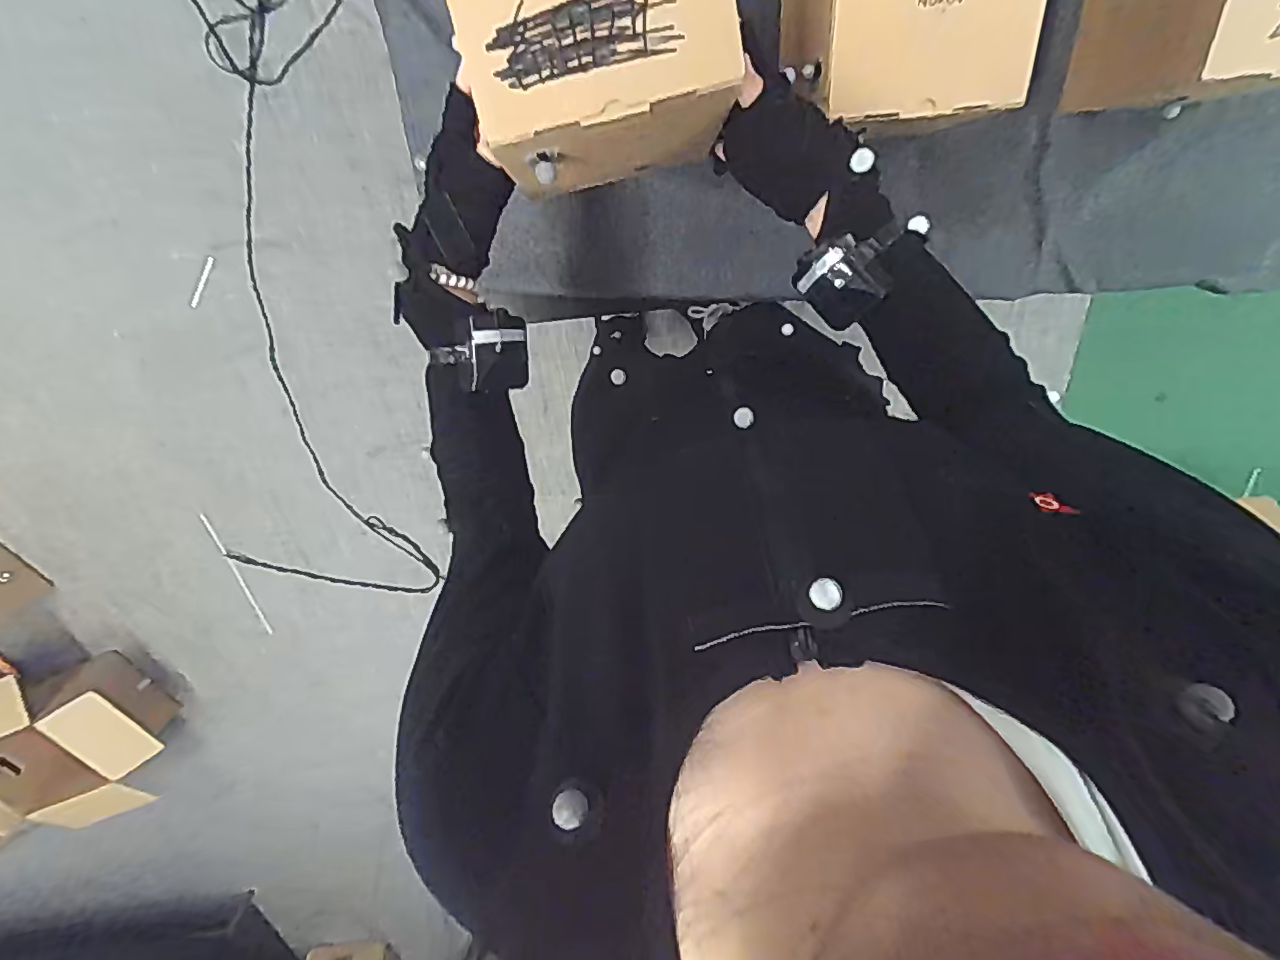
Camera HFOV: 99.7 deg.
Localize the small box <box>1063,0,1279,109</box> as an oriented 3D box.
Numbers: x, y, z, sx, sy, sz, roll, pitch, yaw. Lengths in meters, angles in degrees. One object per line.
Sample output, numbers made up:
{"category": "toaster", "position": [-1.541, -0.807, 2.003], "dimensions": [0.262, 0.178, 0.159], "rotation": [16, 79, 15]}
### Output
{"category": "small box", "position": [0.524, -0.447, 0.473], "dimensions": [0.168, 0.176, 0.179], "rotation": [-4, 118, 0]}
